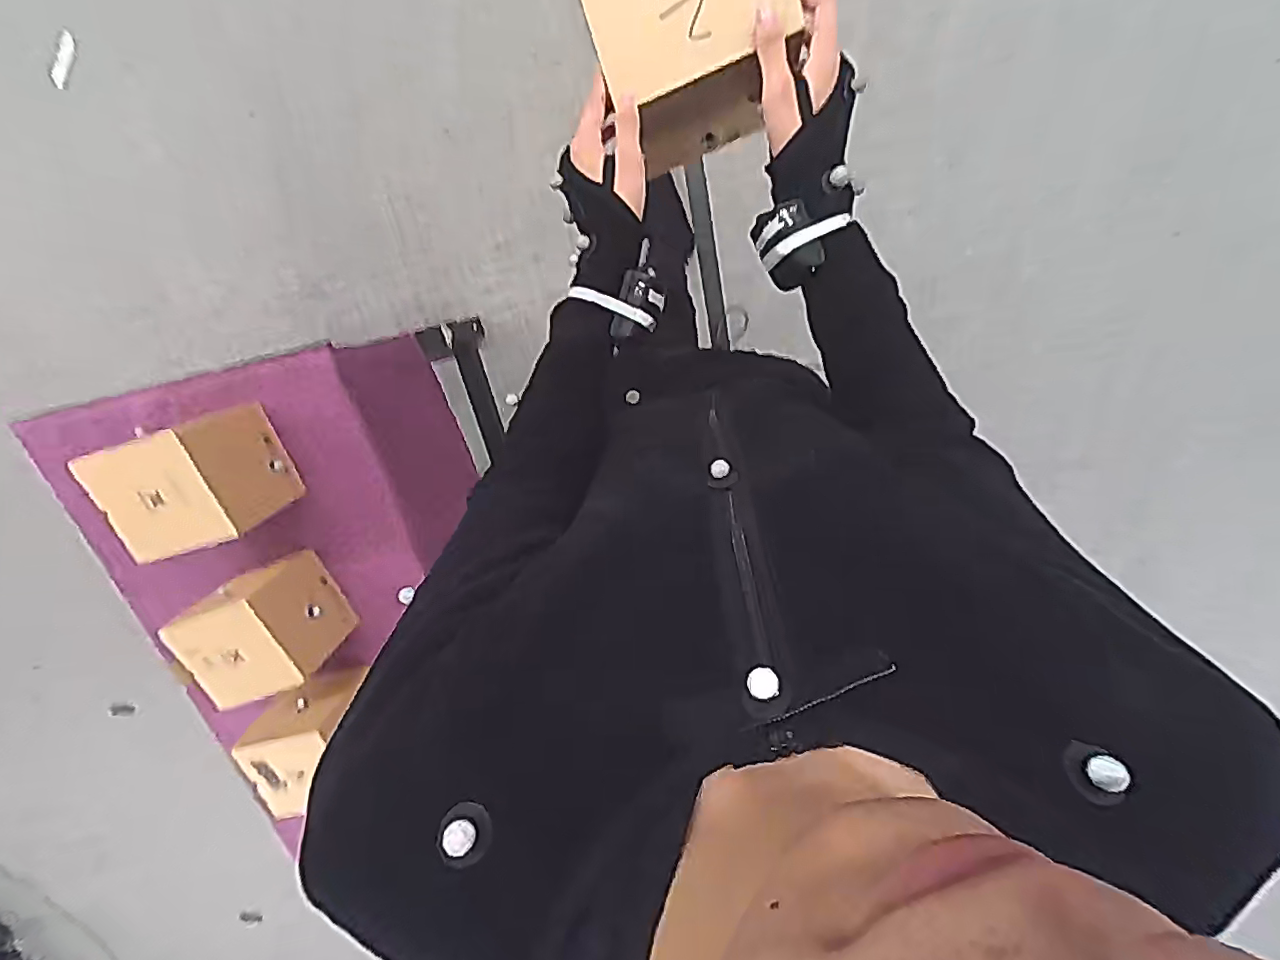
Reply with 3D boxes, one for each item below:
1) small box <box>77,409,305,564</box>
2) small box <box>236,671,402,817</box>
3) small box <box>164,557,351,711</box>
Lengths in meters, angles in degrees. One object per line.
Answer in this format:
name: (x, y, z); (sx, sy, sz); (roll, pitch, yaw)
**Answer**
small box: (-0.676, 0.004, 0.838); (0.179, 0.176, 0.168); (-14, 110, 9)
small box: (-0.591, 0.491, 1.020); (0.179, 0.176, 0.168); (-15, 109, 8)
small box: (-0.637, 0.257, 0.932); (0.179, 0.176, 0.168); (-20, 108, 11)
